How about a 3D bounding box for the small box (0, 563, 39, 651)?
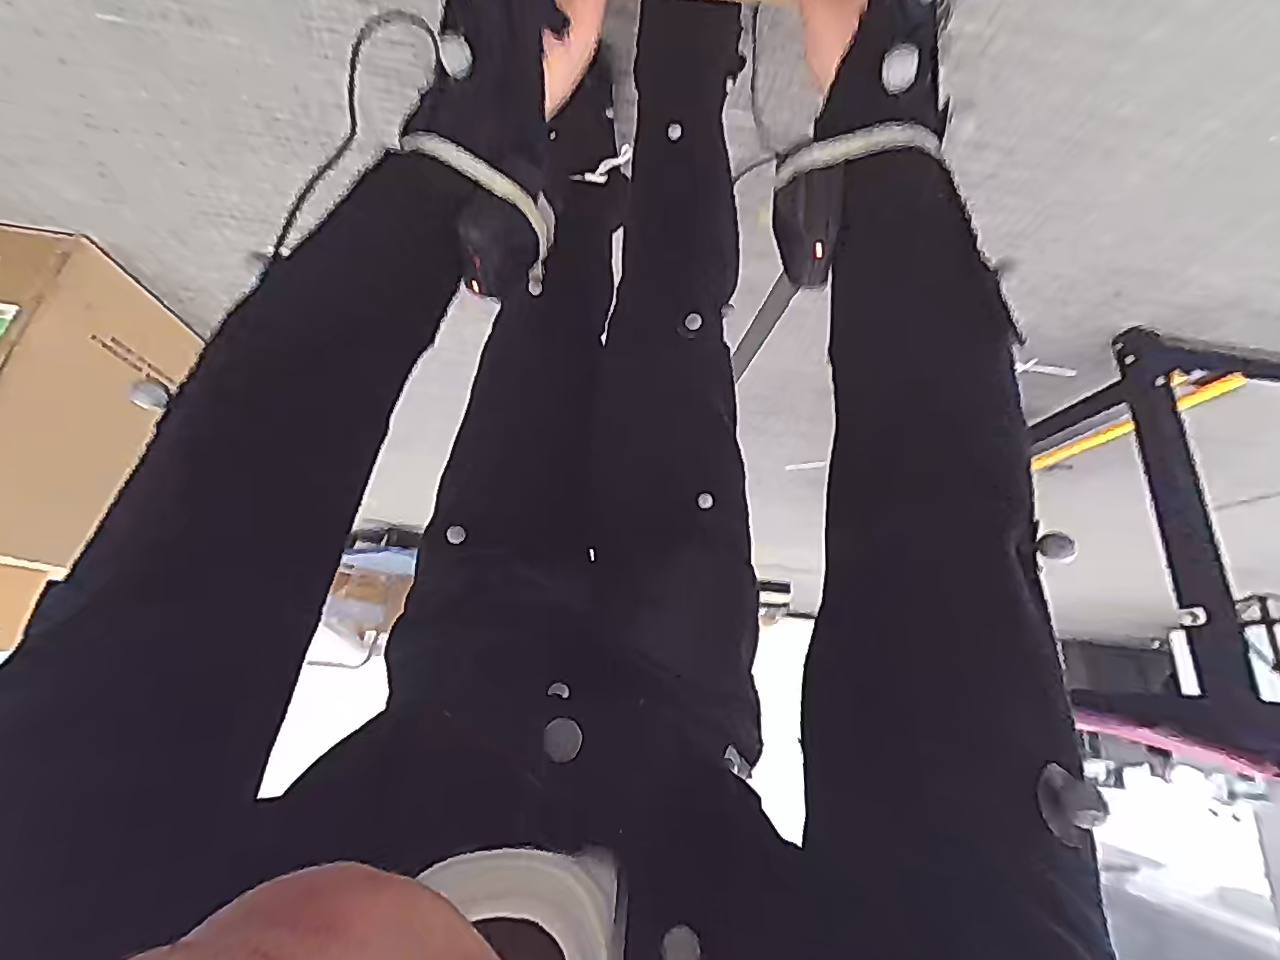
[{"bbox_3d":[-1.353,0.235,1.044,0.168,0.176,0.179,8,161,-8],"label":"small box"}]
